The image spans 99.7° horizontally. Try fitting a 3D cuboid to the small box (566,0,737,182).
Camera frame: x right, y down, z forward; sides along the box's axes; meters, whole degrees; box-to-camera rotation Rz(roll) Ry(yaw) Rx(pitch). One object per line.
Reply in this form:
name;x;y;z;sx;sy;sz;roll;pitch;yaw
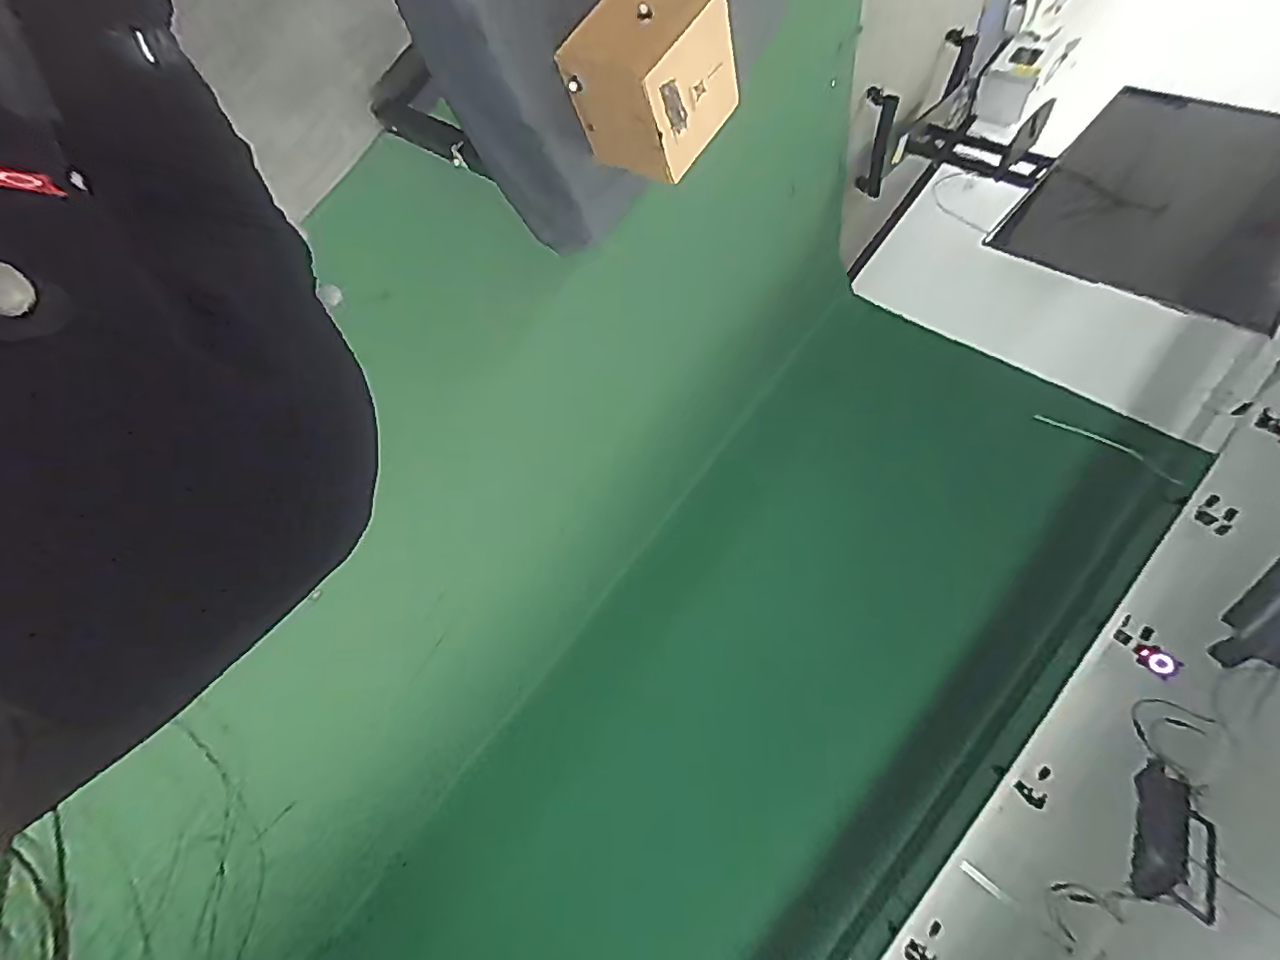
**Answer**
small box;0.015;-0.581;0.785;0.179;0.176;0.168;-53;156;-6
